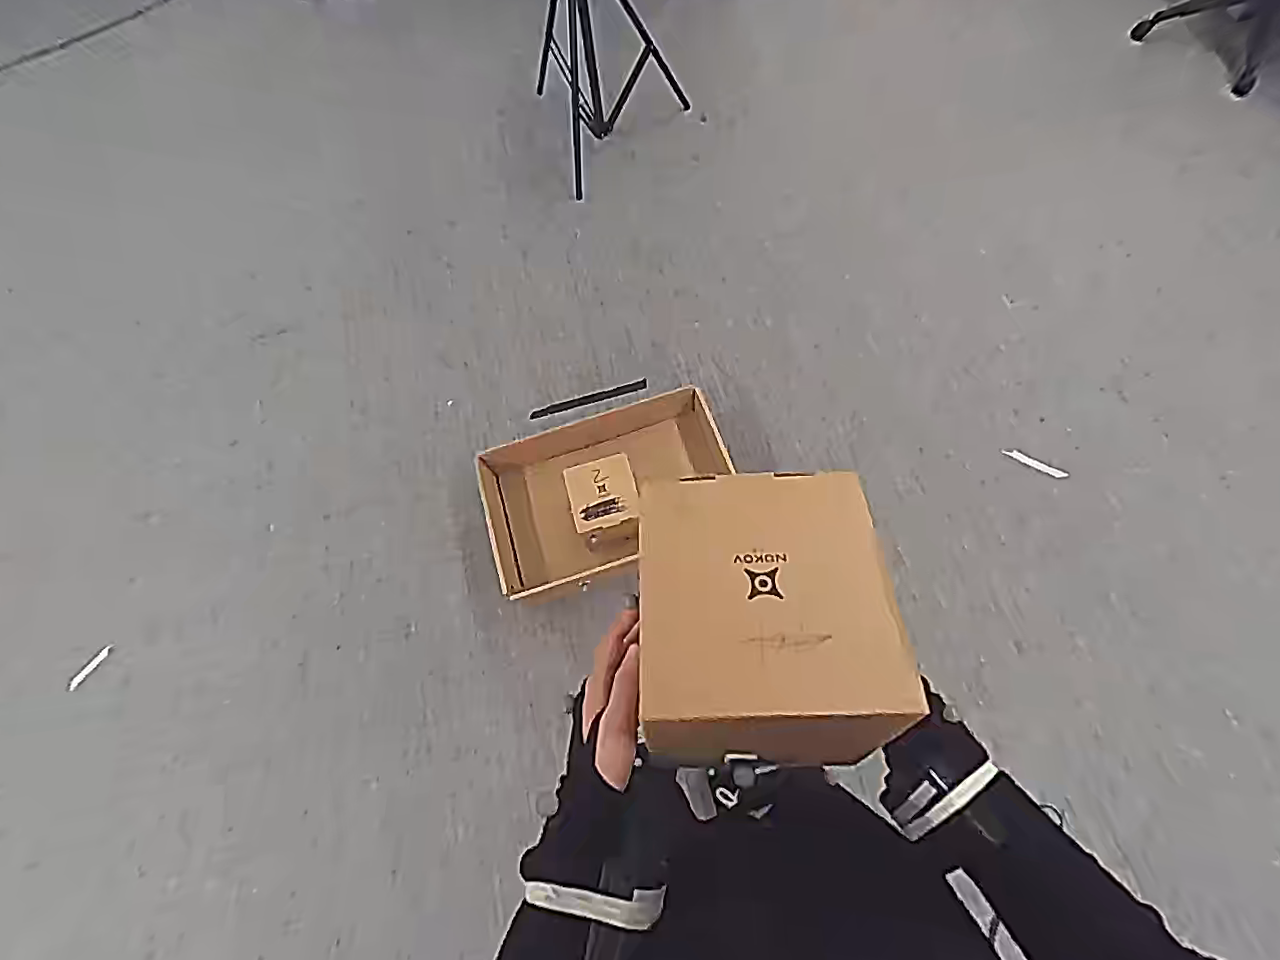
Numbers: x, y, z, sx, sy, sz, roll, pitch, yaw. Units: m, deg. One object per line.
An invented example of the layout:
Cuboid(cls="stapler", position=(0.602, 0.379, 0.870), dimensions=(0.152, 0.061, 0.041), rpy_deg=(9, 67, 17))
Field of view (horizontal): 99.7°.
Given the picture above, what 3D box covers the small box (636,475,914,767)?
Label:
Cuboid(cls="small box", position=(0.083, 0.116, 0.431), dimensions=(0.168, 0.176, 0.179), rpy_deg=(-3, 53, 3))
